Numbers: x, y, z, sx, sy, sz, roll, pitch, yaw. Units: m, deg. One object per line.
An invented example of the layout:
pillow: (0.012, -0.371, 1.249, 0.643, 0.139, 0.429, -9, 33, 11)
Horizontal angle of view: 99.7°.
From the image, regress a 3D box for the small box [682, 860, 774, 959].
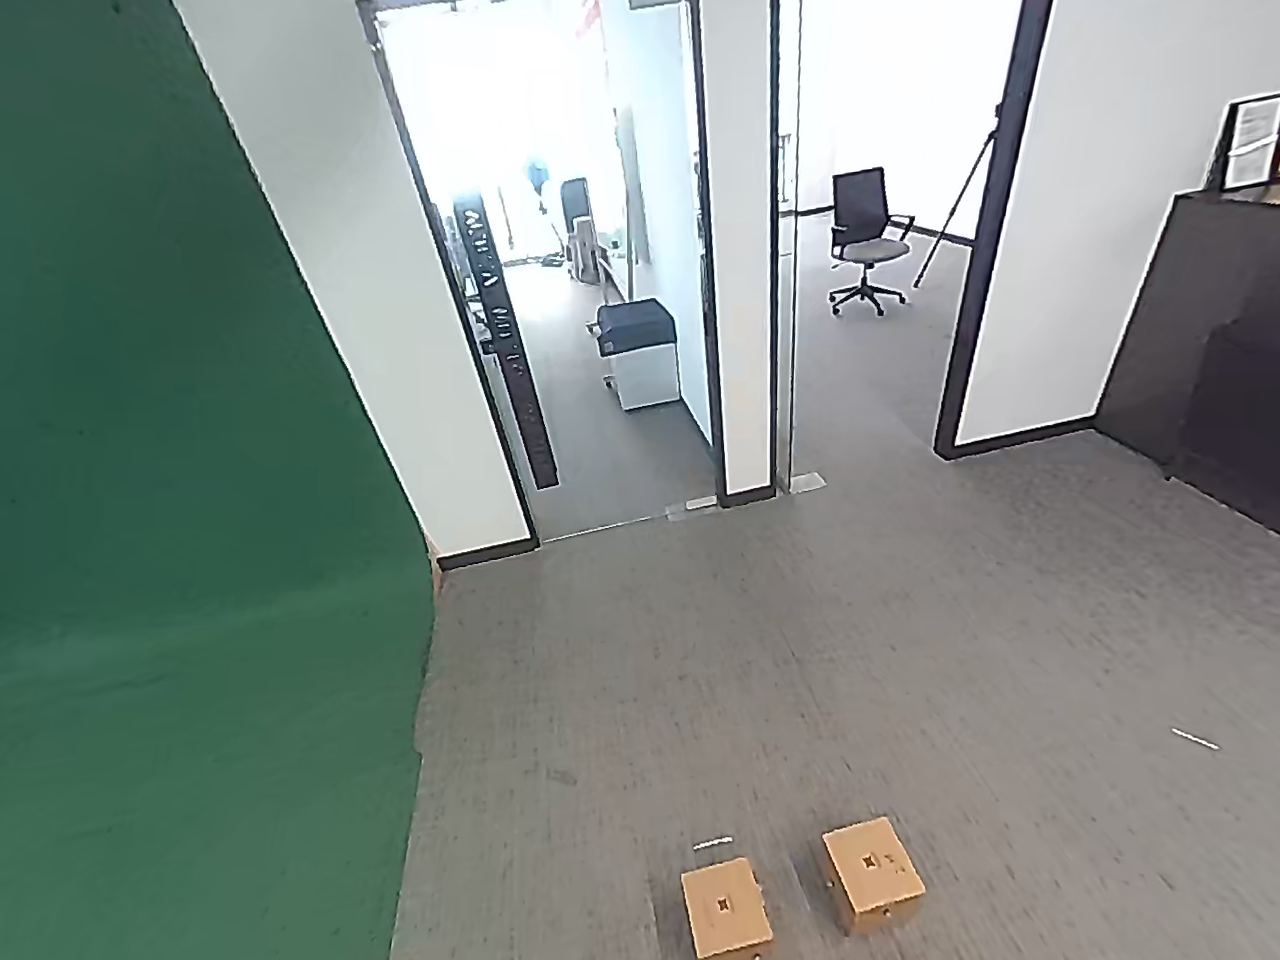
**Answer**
small box: (0.205, 1.042, 1.279, 0.179, 0.176, 0.168, -11, 33, -3)

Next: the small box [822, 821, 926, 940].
small box: (0.554, 0.968, 1.306, 0.179, 0.176, 0.168, -11, 34, -4)
